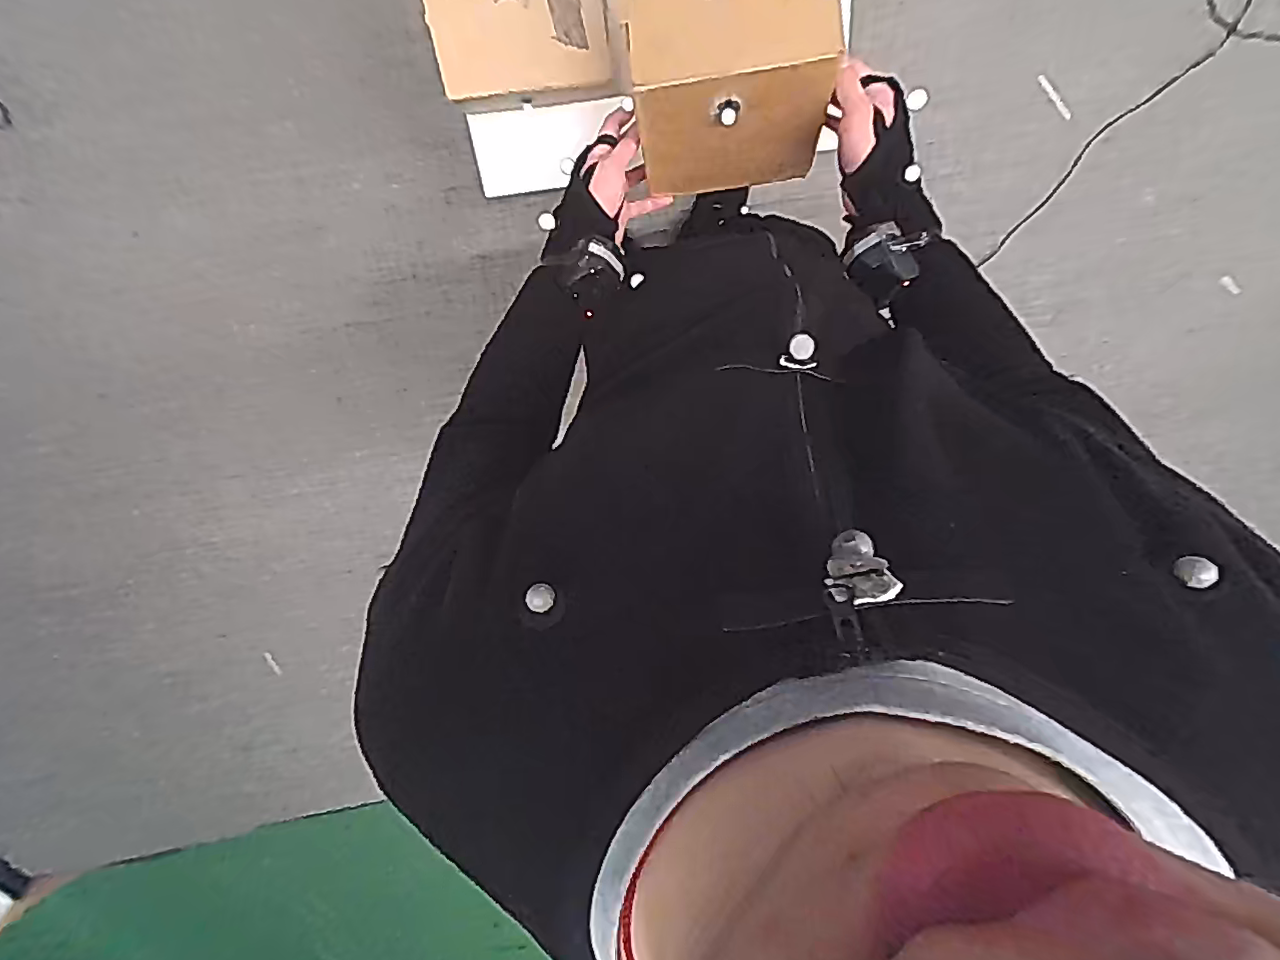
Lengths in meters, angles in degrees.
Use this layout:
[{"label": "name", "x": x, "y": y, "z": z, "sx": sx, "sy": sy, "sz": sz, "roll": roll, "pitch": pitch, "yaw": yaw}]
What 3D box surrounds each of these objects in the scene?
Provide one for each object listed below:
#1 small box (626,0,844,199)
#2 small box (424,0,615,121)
[{"label": "small box", "x": 0.084, "y": -0.402, "z": 0.527, "sx": 0.179, "sy": 0.176, "sz": 0.168, "roll": -4, "pitch": 86, "yaw": 6}, {"label": "small box", "x": -0.130, "y": -0.504, "z": 0.592, "sx": 0.179, "sy": 0.176, "sz": 0.168, "roll": -9, "pitch": 120, "yaw": -3}]
